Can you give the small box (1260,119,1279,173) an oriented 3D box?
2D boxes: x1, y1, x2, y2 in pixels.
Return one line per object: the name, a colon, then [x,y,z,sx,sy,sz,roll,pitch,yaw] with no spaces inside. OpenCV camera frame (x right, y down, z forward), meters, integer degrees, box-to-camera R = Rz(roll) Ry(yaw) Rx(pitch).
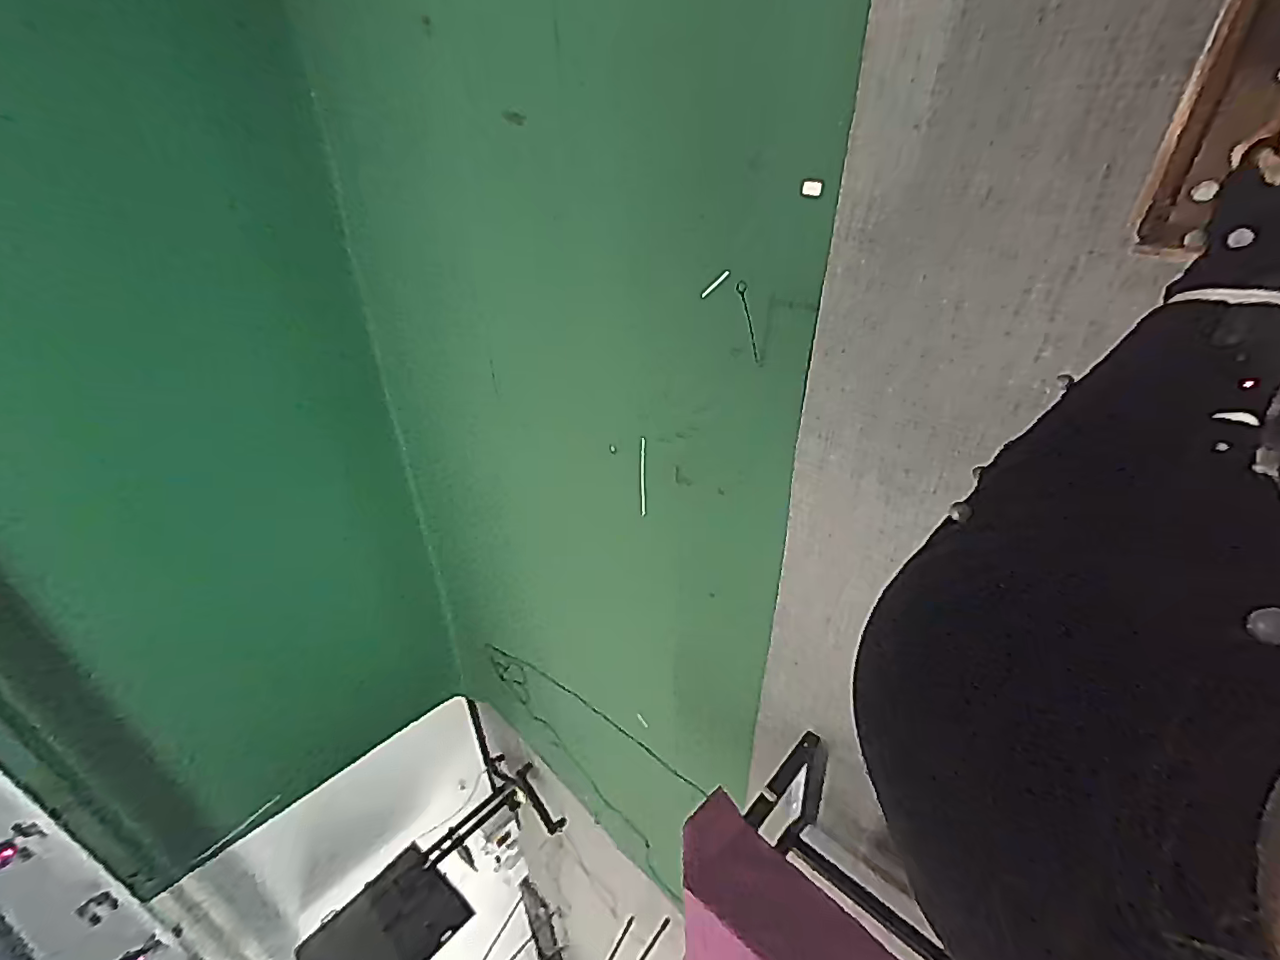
small box: [0.577,-0.309,0.350,0.179,0.176,0.168,25,145,34]
